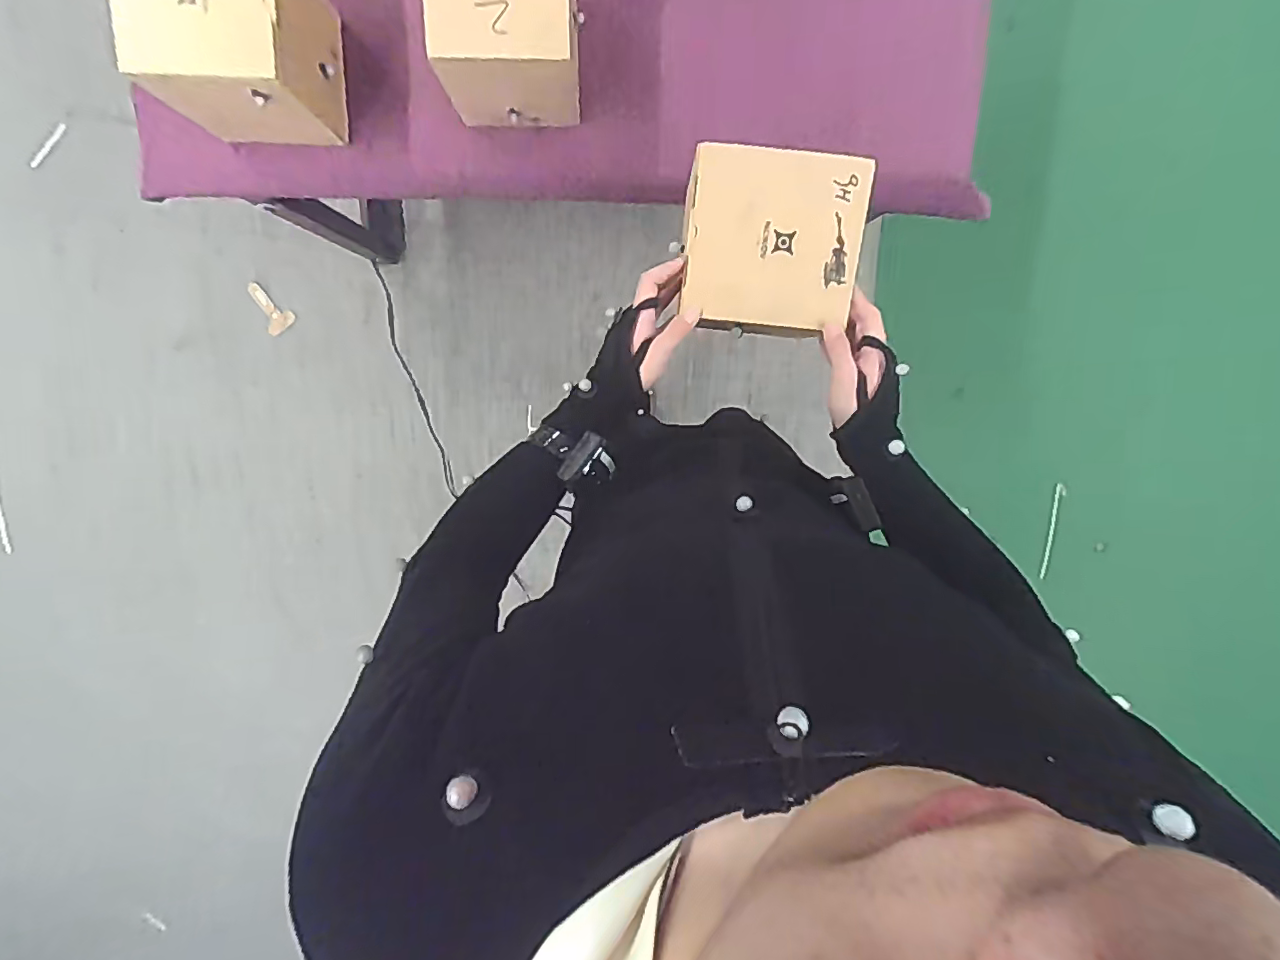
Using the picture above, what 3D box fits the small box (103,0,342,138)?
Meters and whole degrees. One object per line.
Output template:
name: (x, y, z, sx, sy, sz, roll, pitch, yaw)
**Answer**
small box: (-0.500, -0.547, 0.666, 0.179, 0.176, 0.168, 0, 99, -3)
